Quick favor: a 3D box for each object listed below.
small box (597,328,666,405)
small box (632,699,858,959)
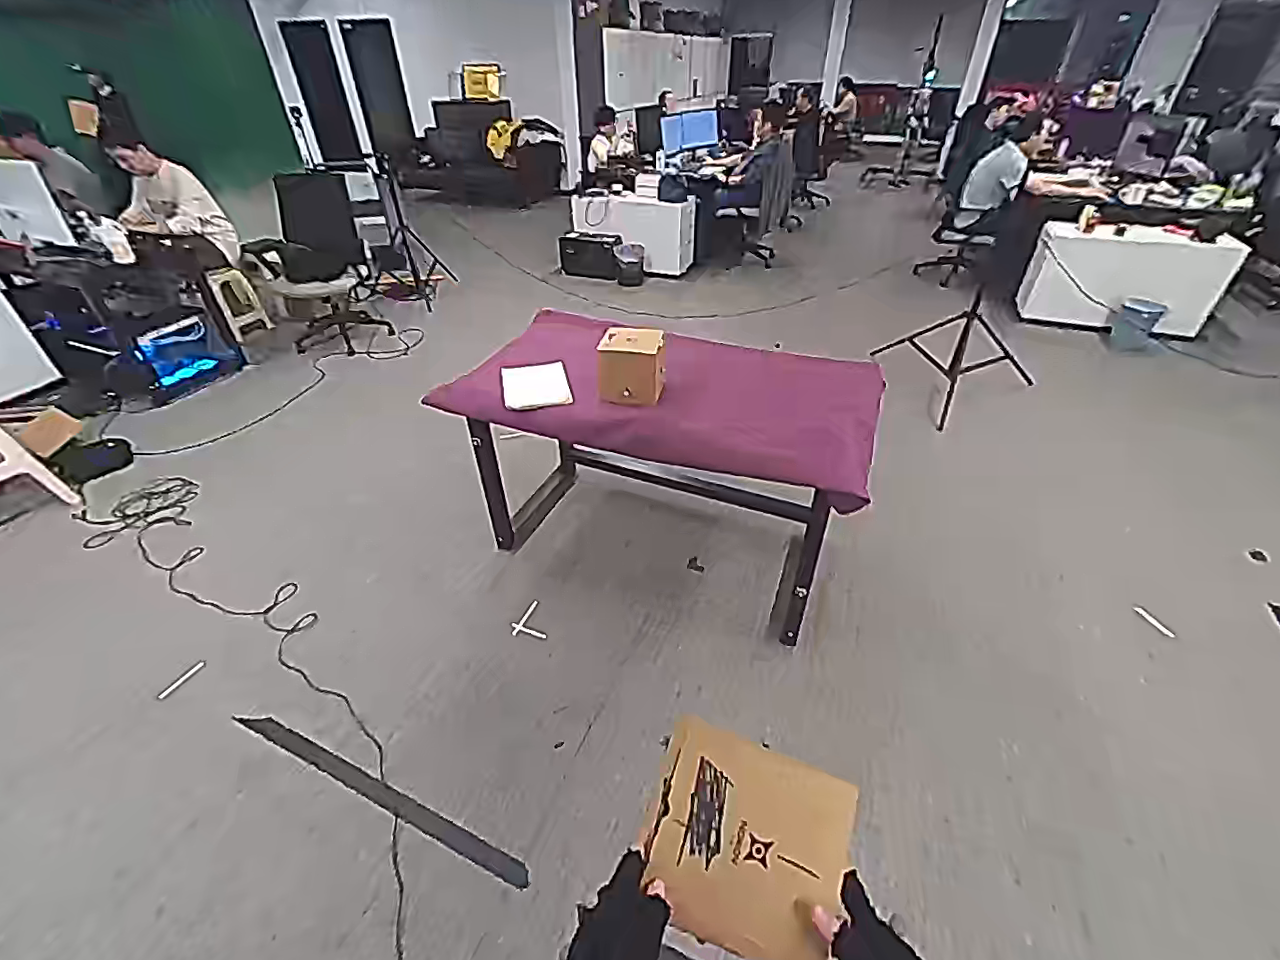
[{"bbox_3d":[-0.023,-0.341,1.632,0.179,0.176,0.168,7,38,10],"label":"small box"},{"bbox_3d":[0.099,0.348,0.572,0.179,0.176,0.168,20,68,7],"label":"small box"}]
